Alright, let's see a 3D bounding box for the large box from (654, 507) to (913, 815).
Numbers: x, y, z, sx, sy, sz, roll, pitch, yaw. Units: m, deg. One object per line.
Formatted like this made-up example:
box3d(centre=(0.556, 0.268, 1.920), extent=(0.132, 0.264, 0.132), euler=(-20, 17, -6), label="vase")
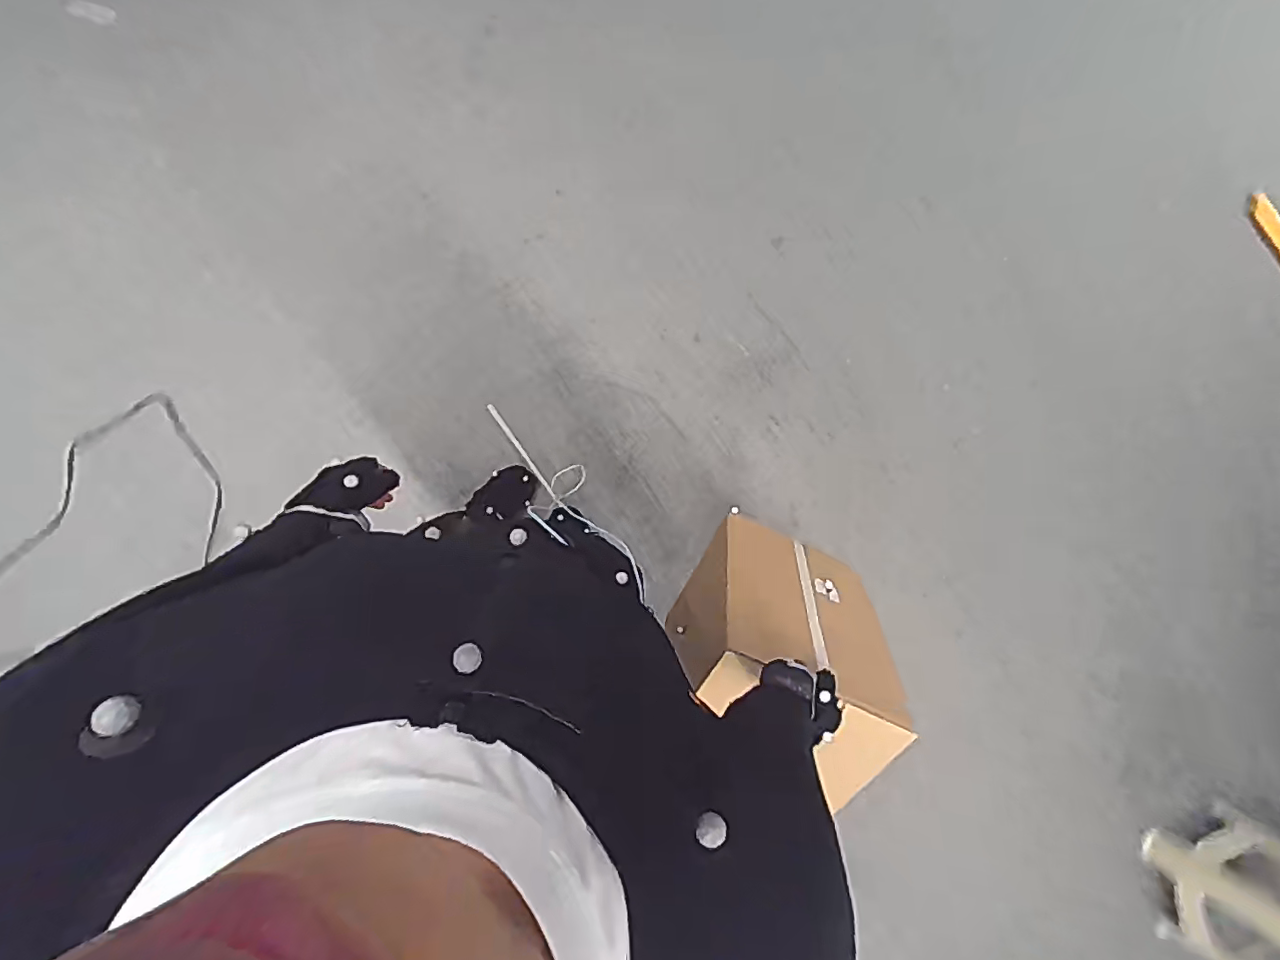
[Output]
box3d(centre=(0.240, 0.323, 1.034), extent=(0.320, 0.408, 0.320), euler=(25, 118, -3), label="large box")
